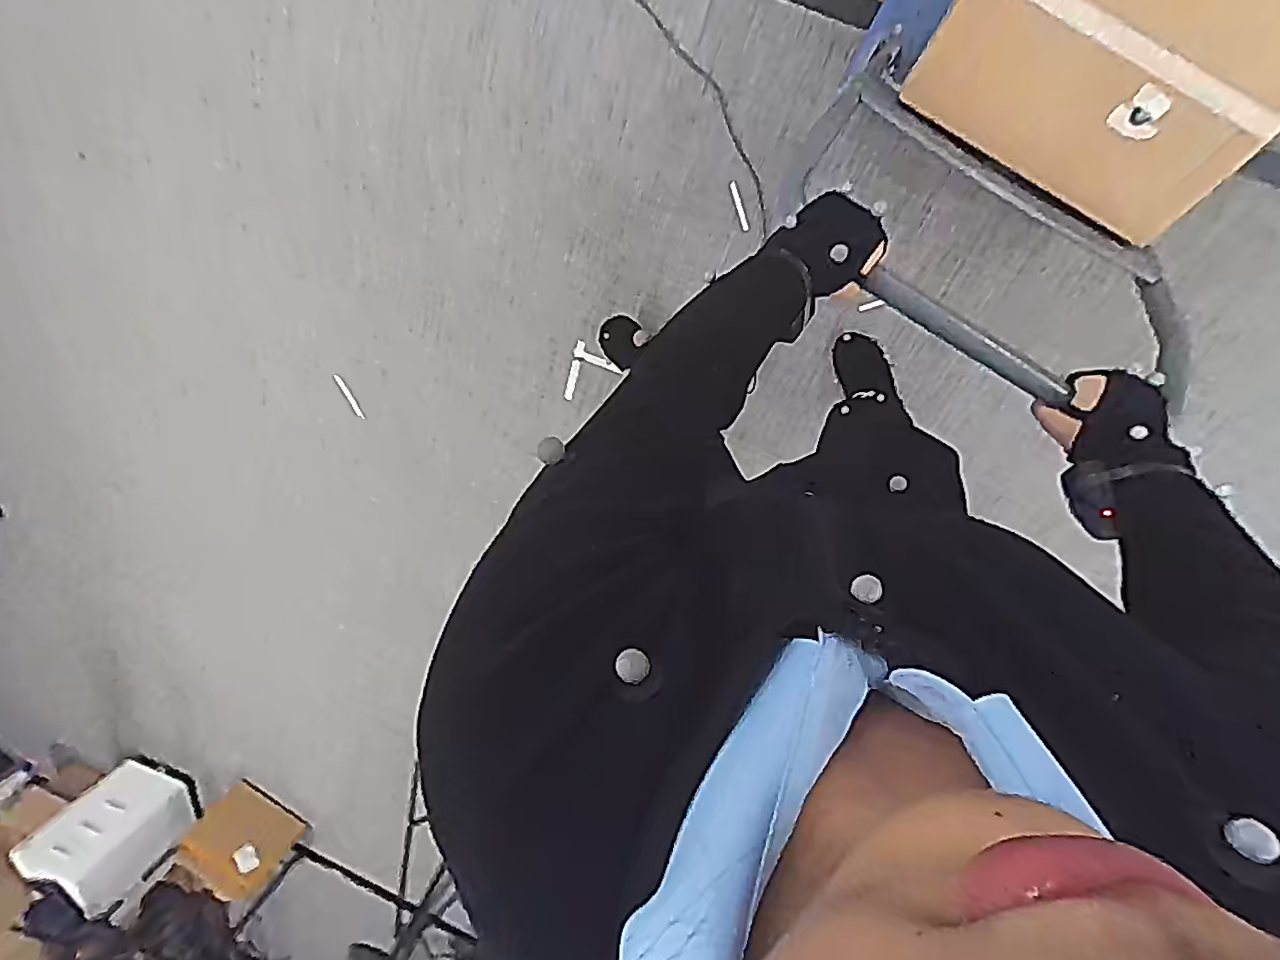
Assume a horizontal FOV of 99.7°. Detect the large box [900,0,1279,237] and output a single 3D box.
[{"bbox_3d":[0.641,-0.624,0.755,0.408,0.320,0.320,32,138,0],"label":"large box"}]
